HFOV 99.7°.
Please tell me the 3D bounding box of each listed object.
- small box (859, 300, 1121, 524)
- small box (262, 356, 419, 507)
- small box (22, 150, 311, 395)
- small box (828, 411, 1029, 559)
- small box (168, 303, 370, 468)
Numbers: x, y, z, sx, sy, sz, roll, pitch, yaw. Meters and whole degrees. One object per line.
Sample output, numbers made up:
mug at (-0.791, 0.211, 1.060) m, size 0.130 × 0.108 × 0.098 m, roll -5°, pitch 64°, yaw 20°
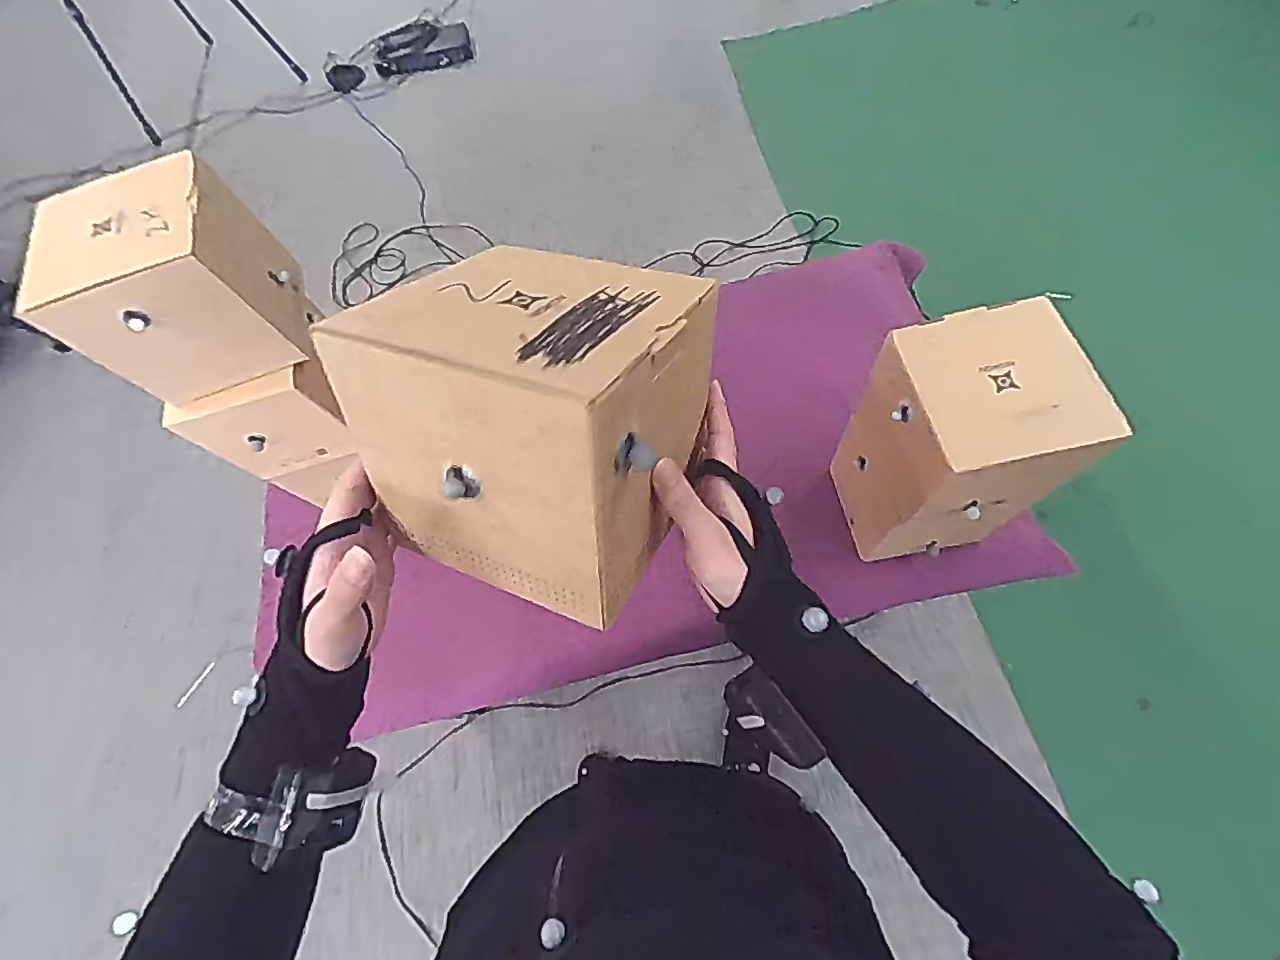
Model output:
small box at (0.369, -0.068, 0.617) m, size 0.168 × 0.176 × 0.179 m, roll -11°, pitch 66°, yaw 4°
small box at (-0.489, -0.073, 0.904) m, size 0.179 × 0.176 × 0.168 m, roll -18°, pitch 66°, yaw 0°
small box at (-0.514, -0.223, 0.614) m, size 0.179 × 0.176 × 0.168 m, roll -20°, pitch 66°, yaw -2°
small box at (0.387, 0.001, 0.764) m, size 0.179 × 0.176 × 0.168 m, roll -11°, pitch 65°, yaw 3°
small box at (-0.501, -0.133, 0.754) m, size 0.168 × 0.176 × 0.179 m, roll -17°, pitch 66°, yaw 0°
